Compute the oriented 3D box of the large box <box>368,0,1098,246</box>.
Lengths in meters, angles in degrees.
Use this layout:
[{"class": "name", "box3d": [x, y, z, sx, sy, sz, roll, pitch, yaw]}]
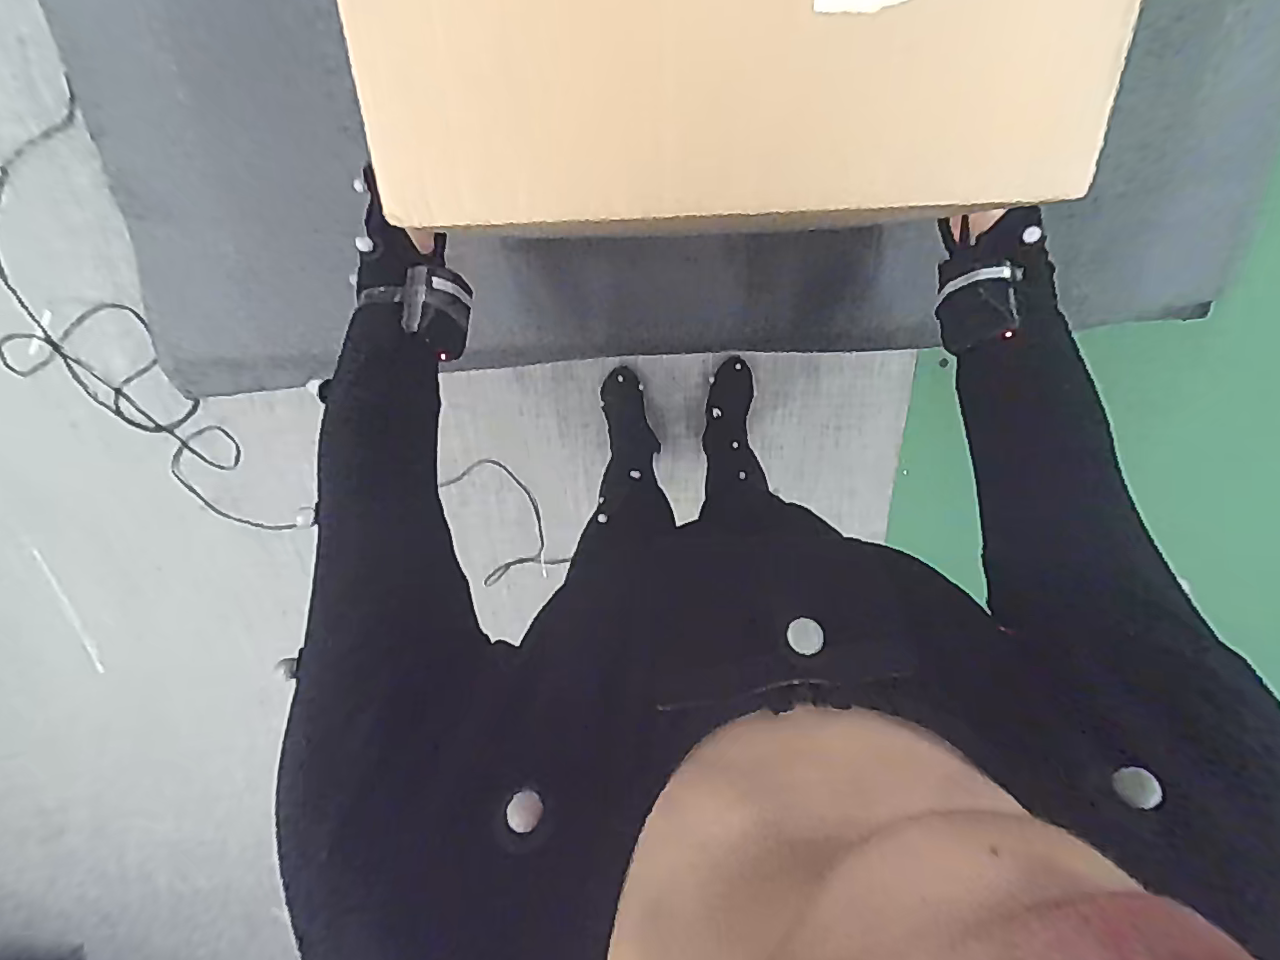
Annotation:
[{"class": "large box", "box3d": [0.046, -0.363, 0.414, 0.408, 0.320, 0.320, -2, 113, 1]}]
